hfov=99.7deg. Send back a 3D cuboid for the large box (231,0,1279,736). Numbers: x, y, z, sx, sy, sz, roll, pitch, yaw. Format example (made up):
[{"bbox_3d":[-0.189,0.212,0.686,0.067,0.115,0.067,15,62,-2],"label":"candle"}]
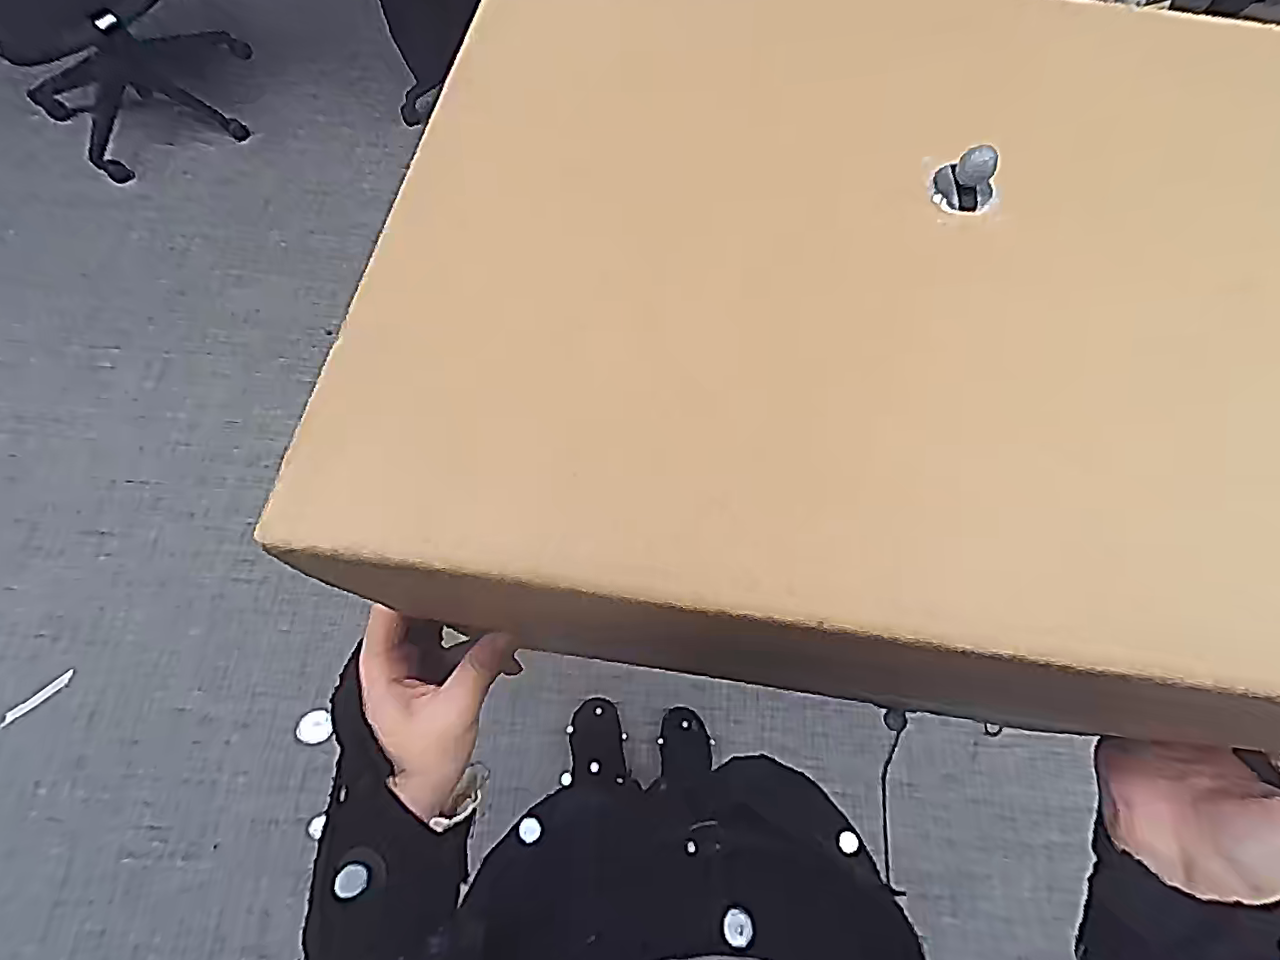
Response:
[{"bbox_3d":[0.093,-0.043,0.335,0.408,0.320,0.320,7,70,2],"label":"large box"}]
